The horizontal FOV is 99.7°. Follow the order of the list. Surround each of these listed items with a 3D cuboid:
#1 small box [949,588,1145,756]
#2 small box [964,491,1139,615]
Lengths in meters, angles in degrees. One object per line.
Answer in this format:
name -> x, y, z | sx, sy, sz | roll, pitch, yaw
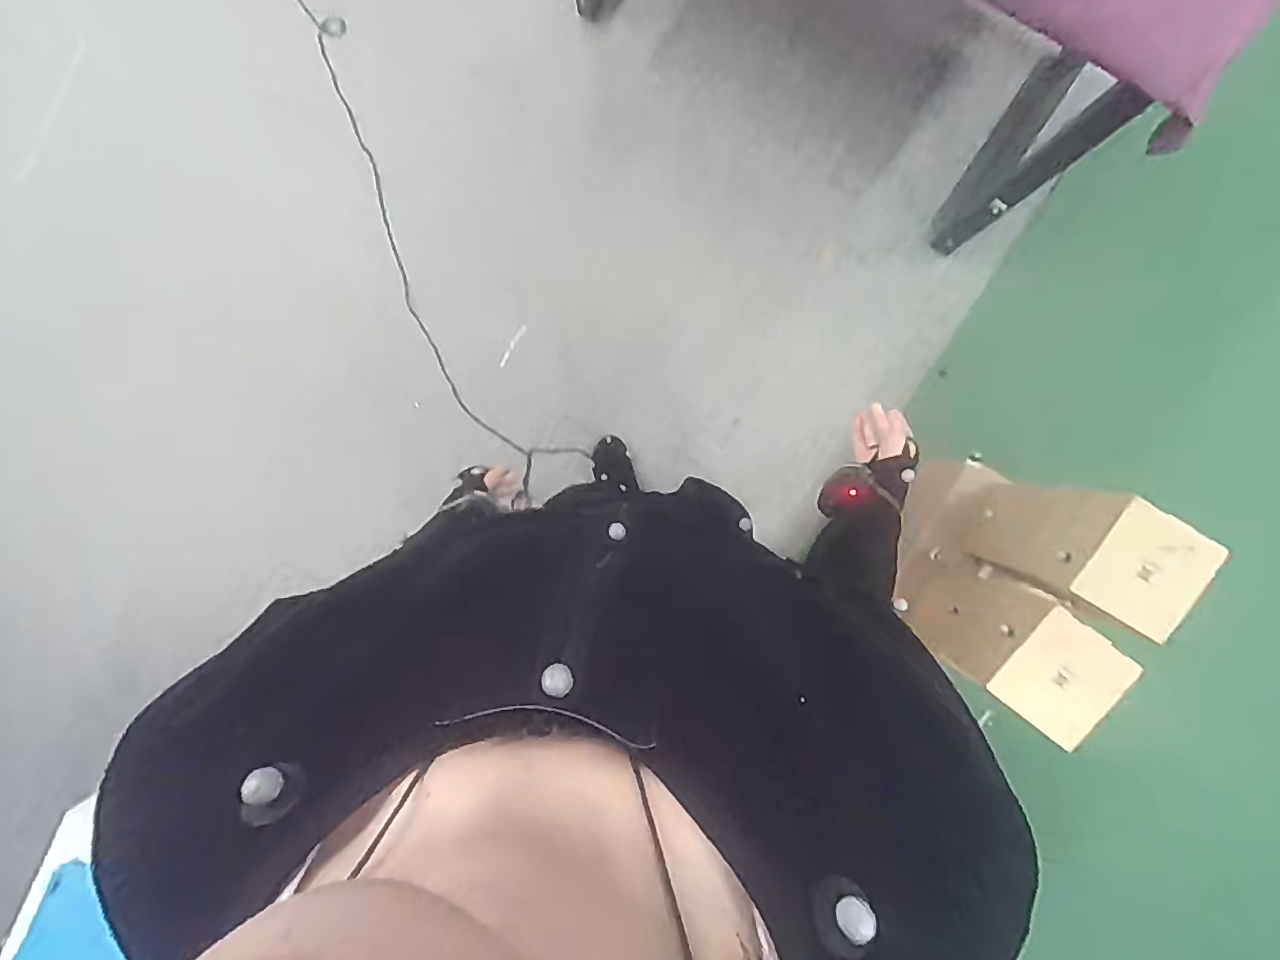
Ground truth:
small box -> 0.663, 0.311, 0.912 | 0.168, 0.176, 0.179 | 38, 93, 3
small box -> 0.789, 0.131, 1.058 | 0.179, 0.176, 0.168 | 29, 94, 3
